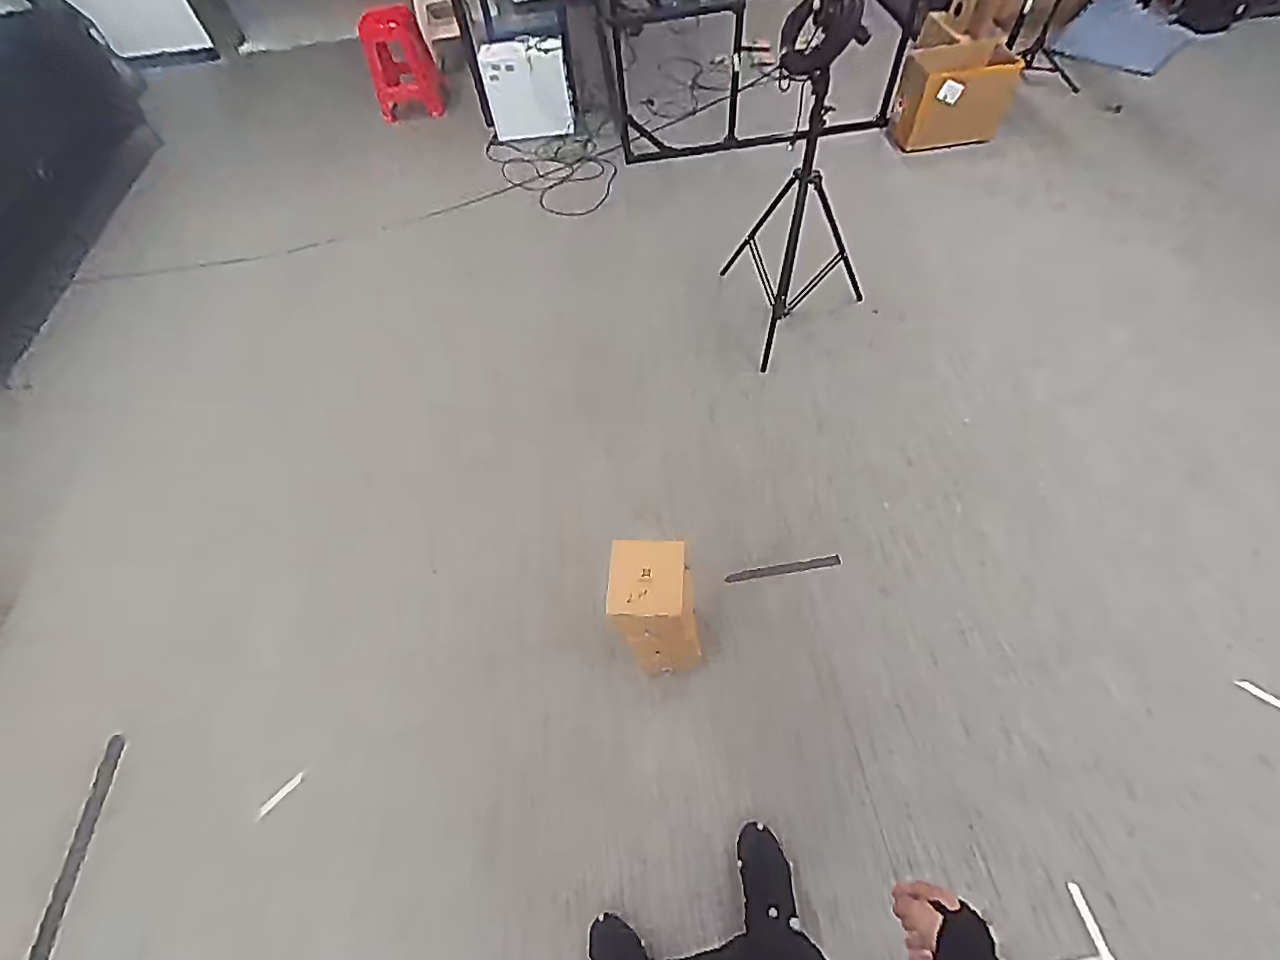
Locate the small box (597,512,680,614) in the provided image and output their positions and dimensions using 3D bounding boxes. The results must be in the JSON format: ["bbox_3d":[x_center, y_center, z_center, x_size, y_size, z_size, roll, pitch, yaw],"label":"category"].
[{"bbox_3d":[0.004,0.188,1.214,0.168,0.176,0.179,1,59,7],"label":"small box"}]

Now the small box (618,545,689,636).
[{"bbox_3d":[0.035,0.279,1.349,0.168,0.176,0.179,-4,59,4],"label":"small box"}]

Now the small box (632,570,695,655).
[{"bbox_3d":[0.059,0.365,1.483,0.168,0.176,0.179,-6,58,2],"label":"small box"}]
